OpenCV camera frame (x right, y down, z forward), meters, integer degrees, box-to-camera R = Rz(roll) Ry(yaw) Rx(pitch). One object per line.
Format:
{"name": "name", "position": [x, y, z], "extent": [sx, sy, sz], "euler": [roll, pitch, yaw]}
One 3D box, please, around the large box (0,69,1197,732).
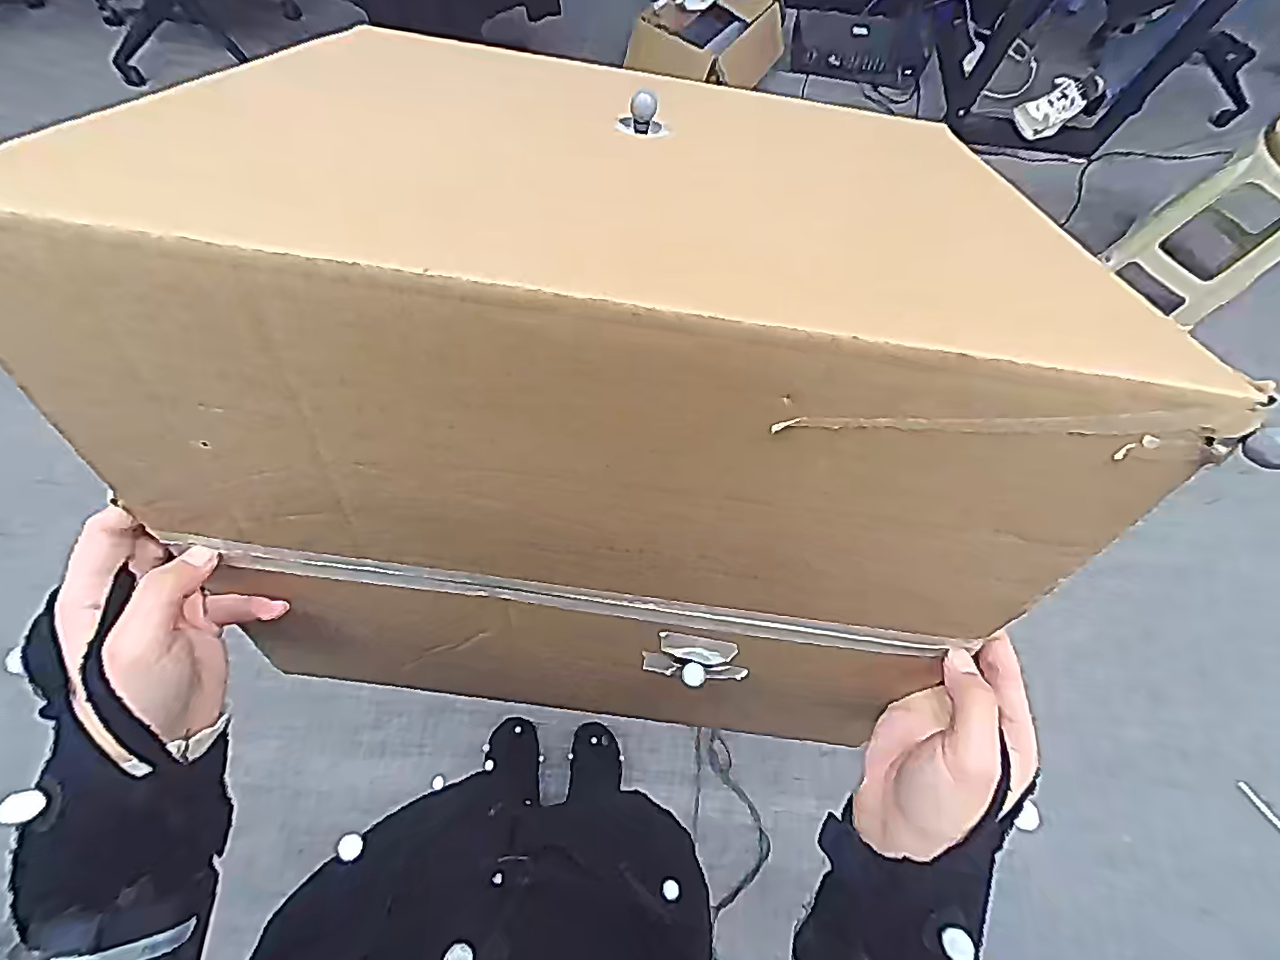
{"name": "large box", "position": [-0.022, -0.053, 0.379], "extent": [0.408, 0.320, 0.320], "euler": [7, 48, -2]}
